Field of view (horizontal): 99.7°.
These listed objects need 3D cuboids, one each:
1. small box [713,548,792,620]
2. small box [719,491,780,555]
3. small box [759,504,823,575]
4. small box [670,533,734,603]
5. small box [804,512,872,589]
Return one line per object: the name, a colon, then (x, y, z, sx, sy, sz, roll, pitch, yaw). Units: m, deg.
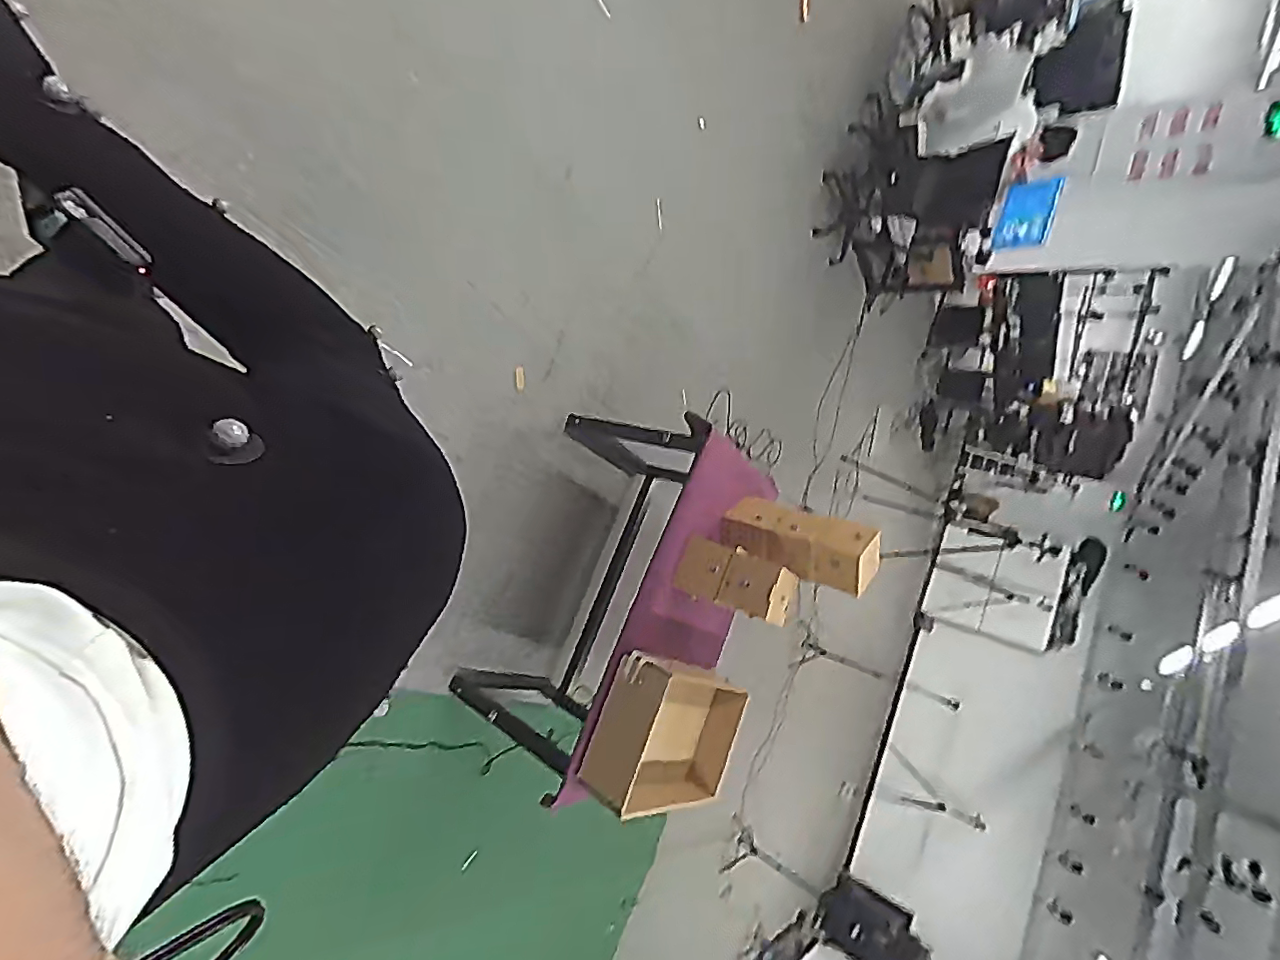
small box: (0.353, 0.324, 1.708, 0.179, 0.176, 0.168, 33, 76, -52)
small box: (0.402, 0.160, 1.988, 0.179, 0.176, 0.168, -34, 128, -40)
small box: (0.527, 0.199, 1.891, 0.168, 0.176, 0.179, -33, 126, -40)
small box: (0.223, 0.290, 1.801, 0.168, 0.176, 0.179, 32, 77, -52)
small box: (0.654, 0.228, 1.795, 0.179, 0.176, 0.168, -36, 127, -39)
